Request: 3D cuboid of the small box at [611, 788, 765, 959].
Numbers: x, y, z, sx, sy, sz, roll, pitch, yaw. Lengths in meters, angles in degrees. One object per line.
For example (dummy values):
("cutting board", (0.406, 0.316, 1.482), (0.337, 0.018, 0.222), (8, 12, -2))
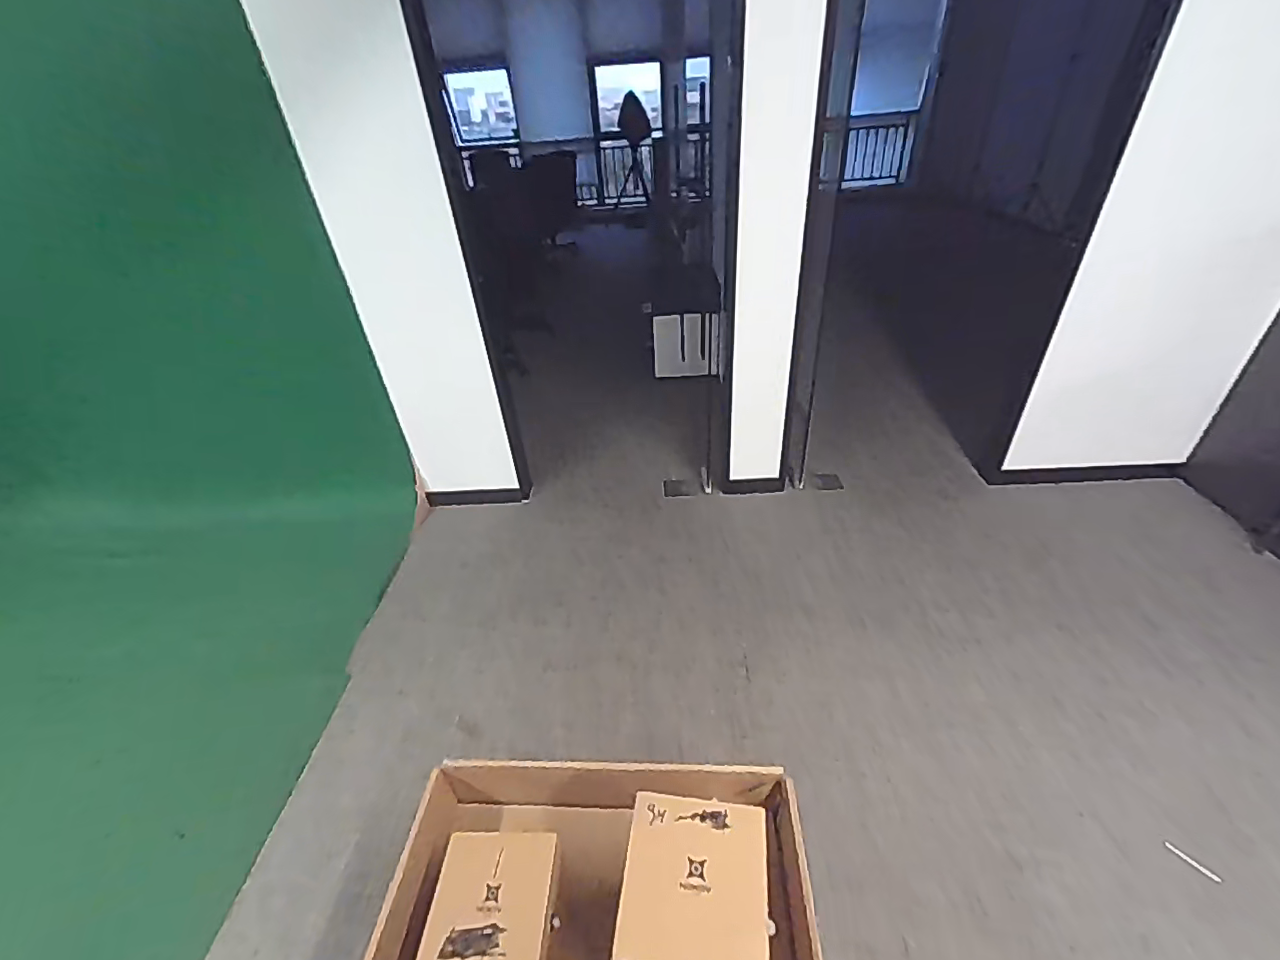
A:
("small box", (0.069, 0.521, 0.673), (0.168, 0.176, 0.179), (2, 37, 10))
